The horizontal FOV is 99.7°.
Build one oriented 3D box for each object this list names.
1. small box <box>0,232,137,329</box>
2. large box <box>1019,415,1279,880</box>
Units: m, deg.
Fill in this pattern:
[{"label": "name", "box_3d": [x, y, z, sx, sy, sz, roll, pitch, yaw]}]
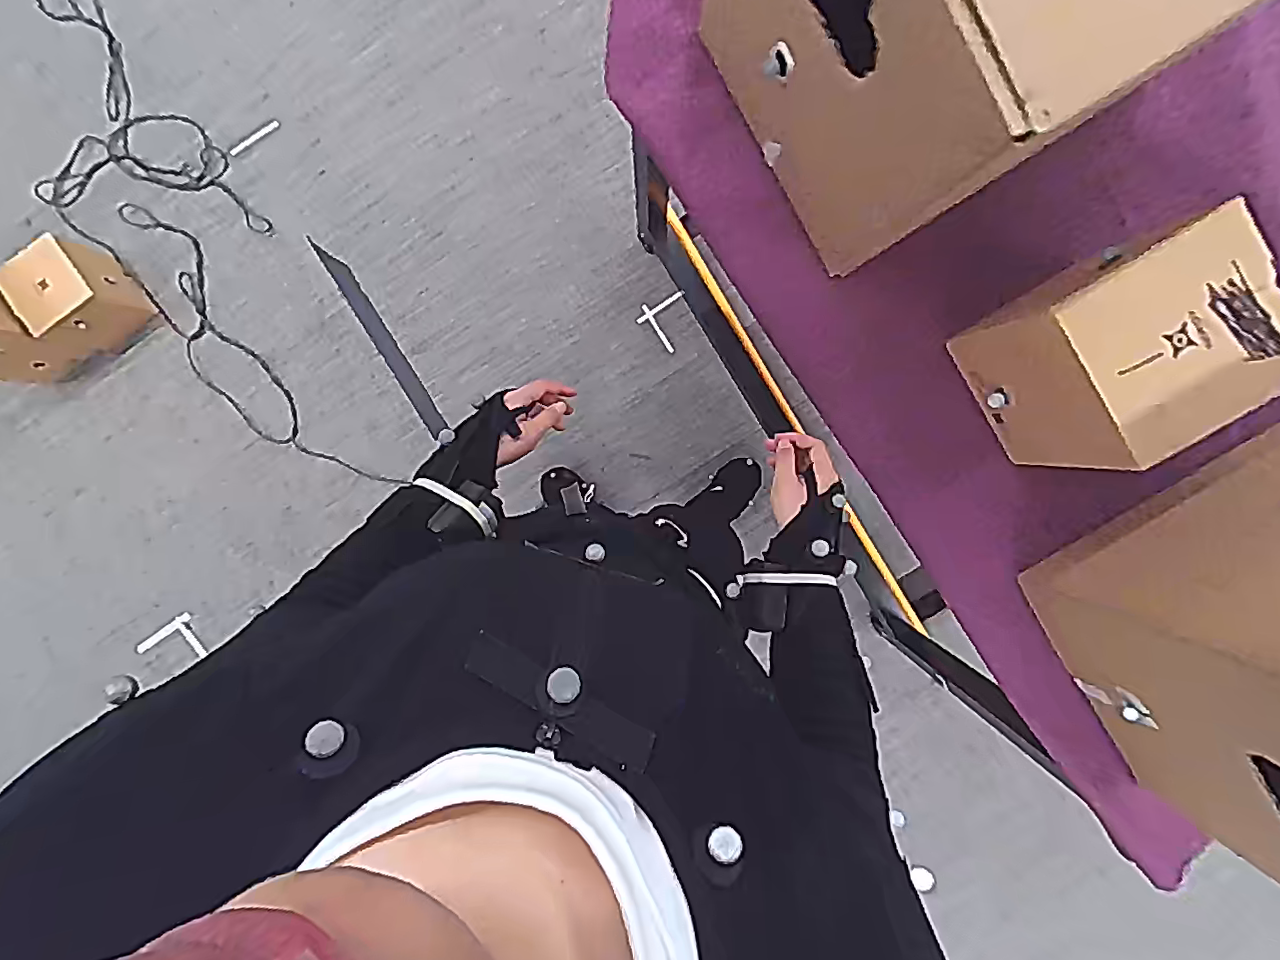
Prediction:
[{"label": "small box", "box_3d": [-1.295, -0.438, 1.207, 0.168, 0.176, 0.179, -9, 105, -12]}, {"label": "large box", "box_3d": [0.684, 0.146, 0.488, 0.408, 0.320, 0.320, -32, 94, 2]}]
